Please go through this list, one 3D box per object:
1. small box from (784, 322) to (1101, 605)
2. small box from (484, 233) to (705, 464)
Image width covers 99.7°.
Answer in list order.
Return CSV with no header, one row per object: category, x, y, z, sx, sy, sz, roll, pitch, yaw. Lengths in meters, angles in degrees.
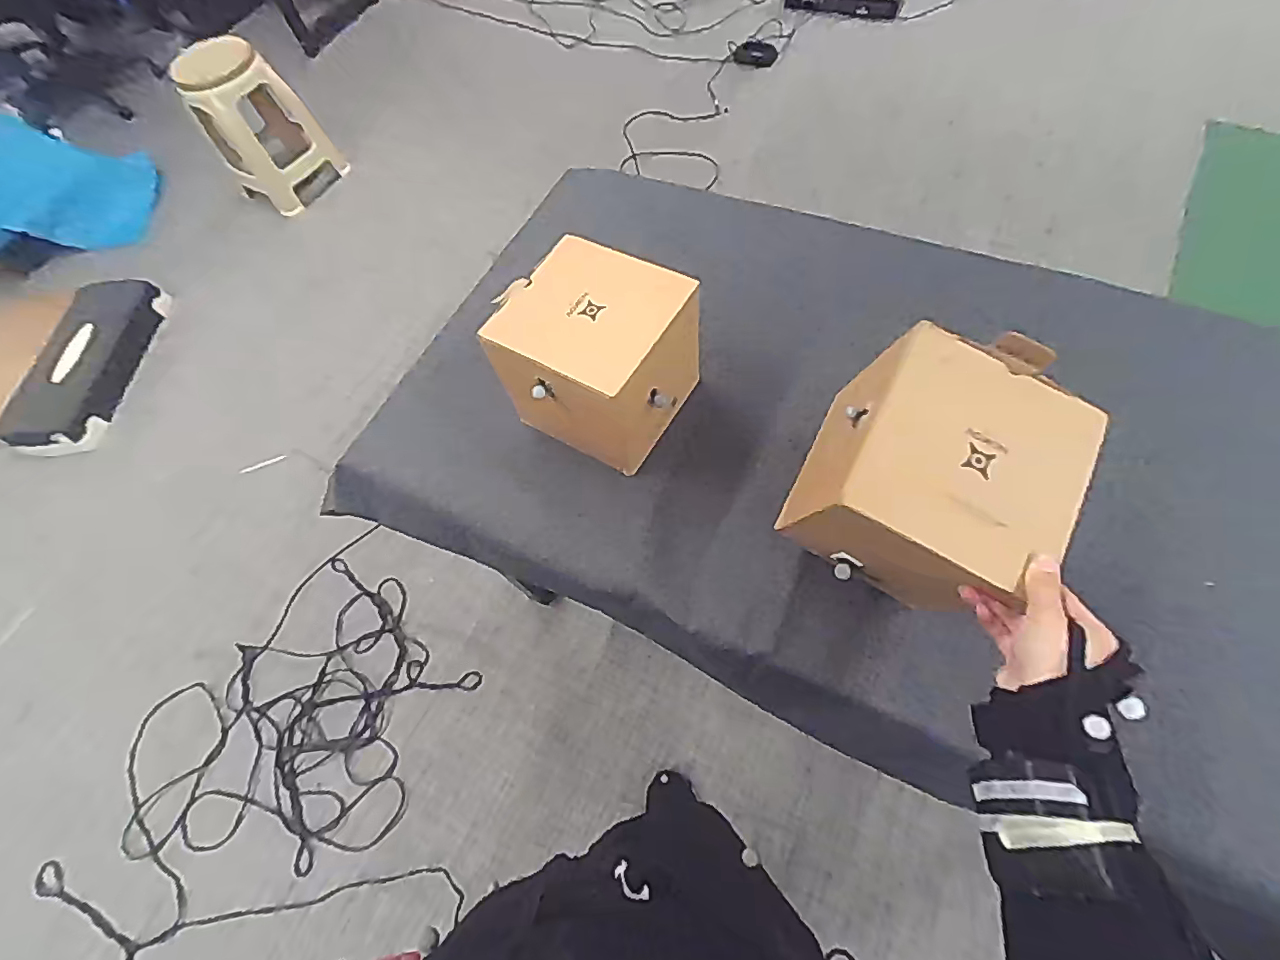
small box,0.255,-0.001,0.496,0.168,0.176,0.179,28,76,4
small box,-0.039,-0.142,0.627,0.179,0.176,0.168,28,69,18
